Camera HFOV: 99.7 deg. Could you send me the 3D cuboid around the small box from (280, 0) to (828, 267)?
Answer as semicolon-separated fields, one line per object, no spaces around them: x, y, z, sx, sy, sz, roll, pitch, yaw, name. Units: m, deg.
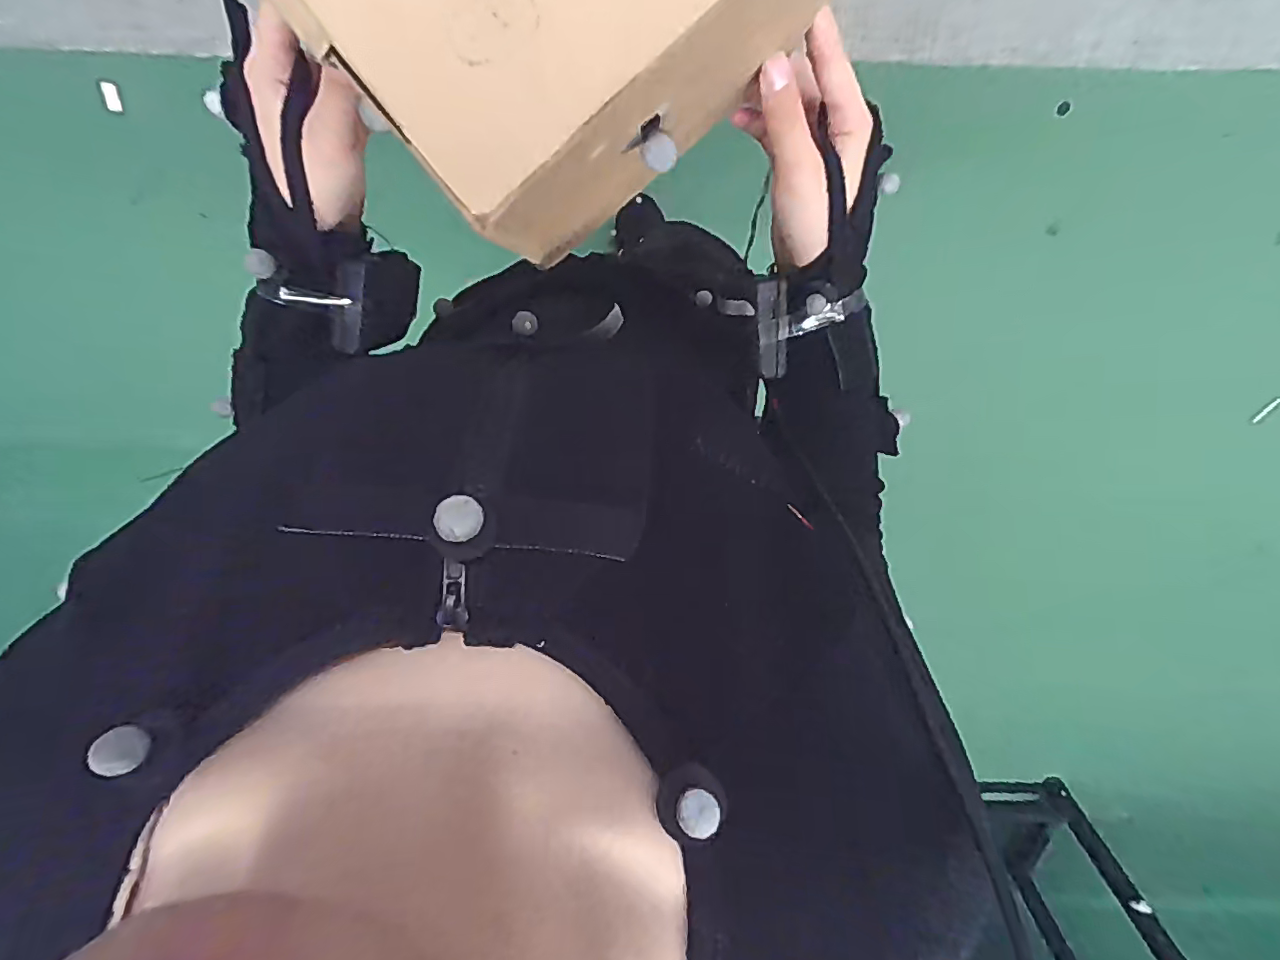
-0.032;-0.206;0.211;0.179;0.176;0.168;-37;105;9;small box
